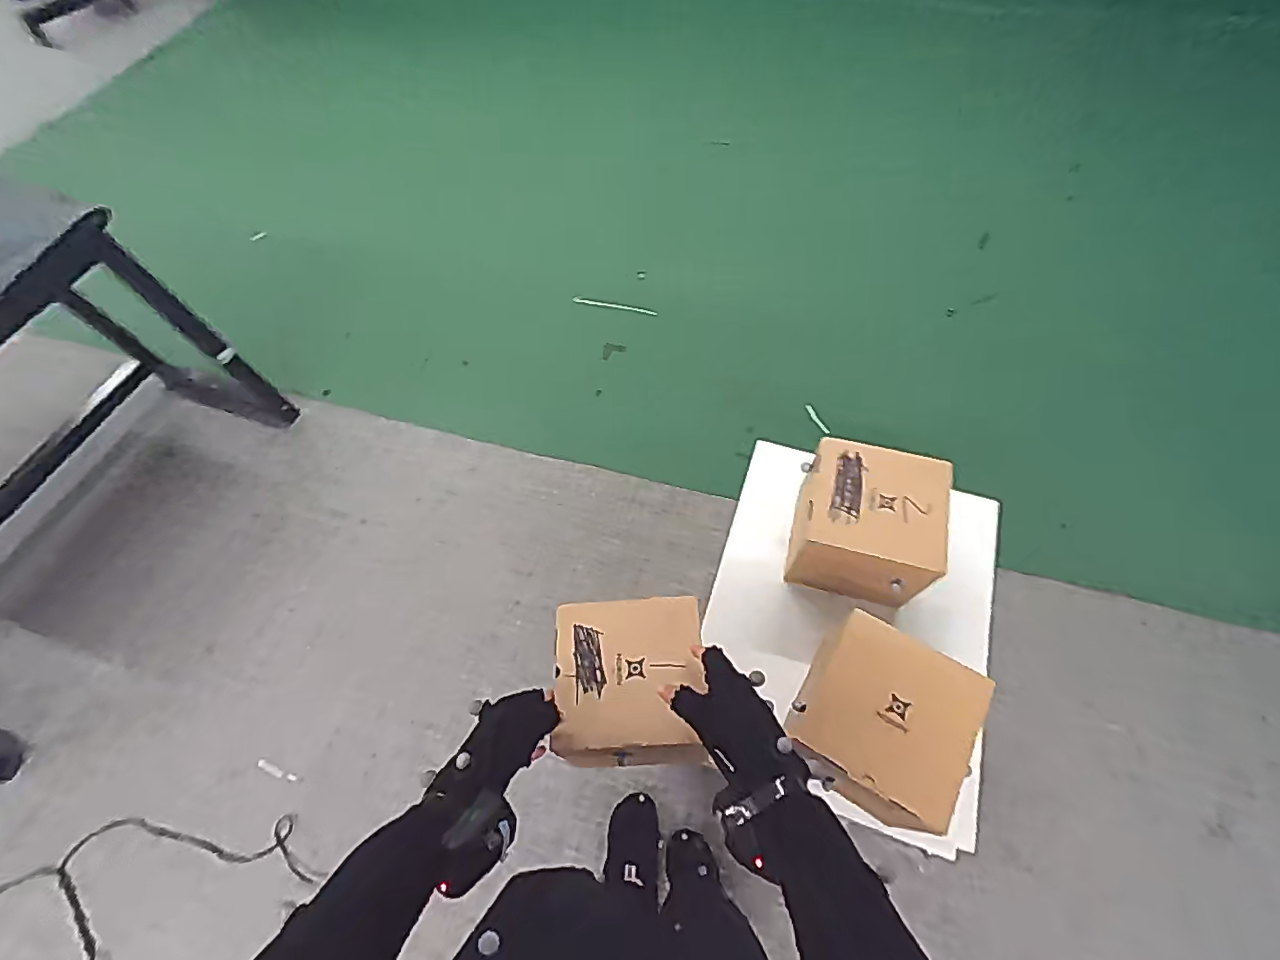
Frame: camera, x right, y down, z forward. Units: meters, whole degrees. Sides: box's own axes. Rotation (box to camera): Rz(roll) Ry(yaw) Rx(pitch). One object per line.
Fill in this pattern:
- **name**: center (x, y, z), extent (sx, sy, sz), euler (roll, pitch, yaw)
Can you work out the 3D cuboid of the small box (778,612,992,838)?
- **small box**: center (0.285, 0.296, 0.665), extent (0.168, 0.176, 0.179), euler (28, 67, 18)
